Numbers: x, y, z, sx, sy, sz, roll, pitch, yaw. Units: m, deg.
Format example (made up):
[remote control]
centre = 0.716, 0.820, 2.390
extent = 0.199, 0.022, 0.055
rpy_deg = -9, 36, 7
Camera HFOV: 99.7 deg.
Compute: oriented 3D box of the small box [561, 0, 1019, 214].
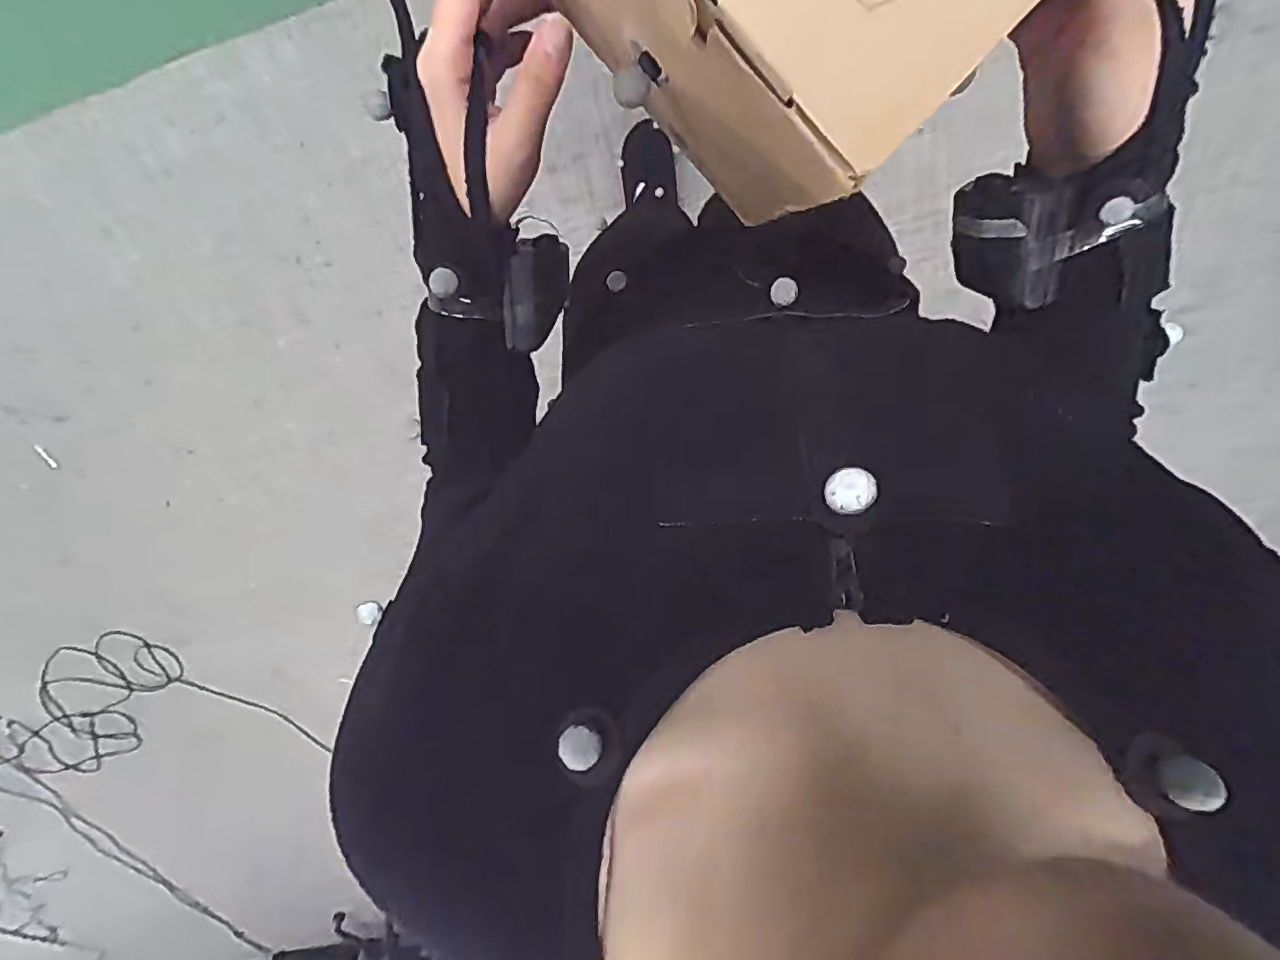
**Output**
[small box]
centre = 0.063, -0.228, 0.201
extent = 0.168, 0.176, 0.179
rpy_deg = 41, 107, -14
